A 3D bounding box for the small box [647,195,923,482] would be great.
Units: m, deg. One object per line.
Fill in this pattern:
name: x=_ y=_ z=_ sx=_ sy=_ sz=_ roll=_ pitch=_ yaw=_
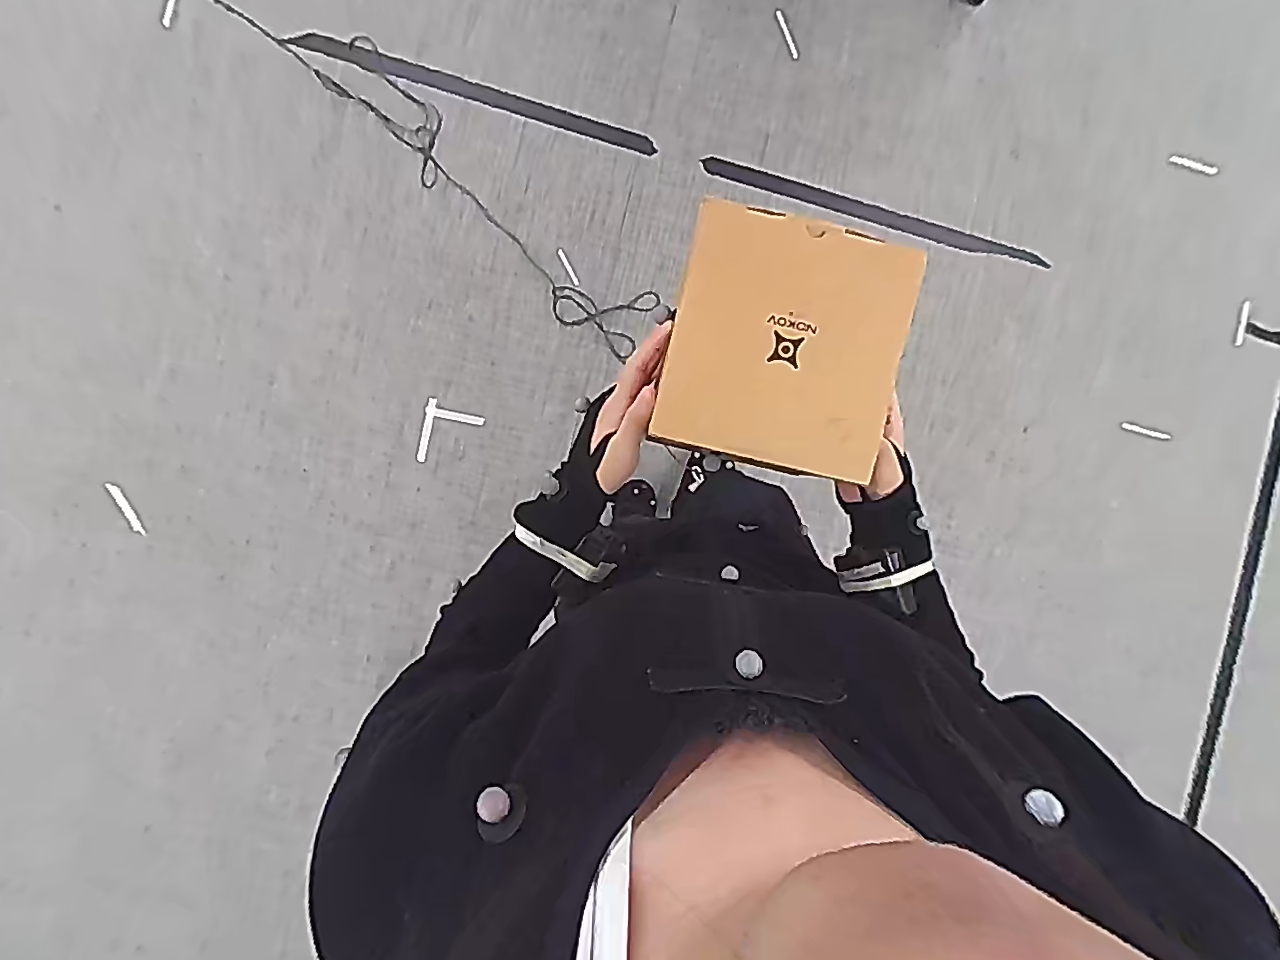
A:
small box: x=0.103 y=-0.102 z=0.465 sx=0.168 sy=0.176 sz=0.179 roll=12 pitch=91 yaw=-2
